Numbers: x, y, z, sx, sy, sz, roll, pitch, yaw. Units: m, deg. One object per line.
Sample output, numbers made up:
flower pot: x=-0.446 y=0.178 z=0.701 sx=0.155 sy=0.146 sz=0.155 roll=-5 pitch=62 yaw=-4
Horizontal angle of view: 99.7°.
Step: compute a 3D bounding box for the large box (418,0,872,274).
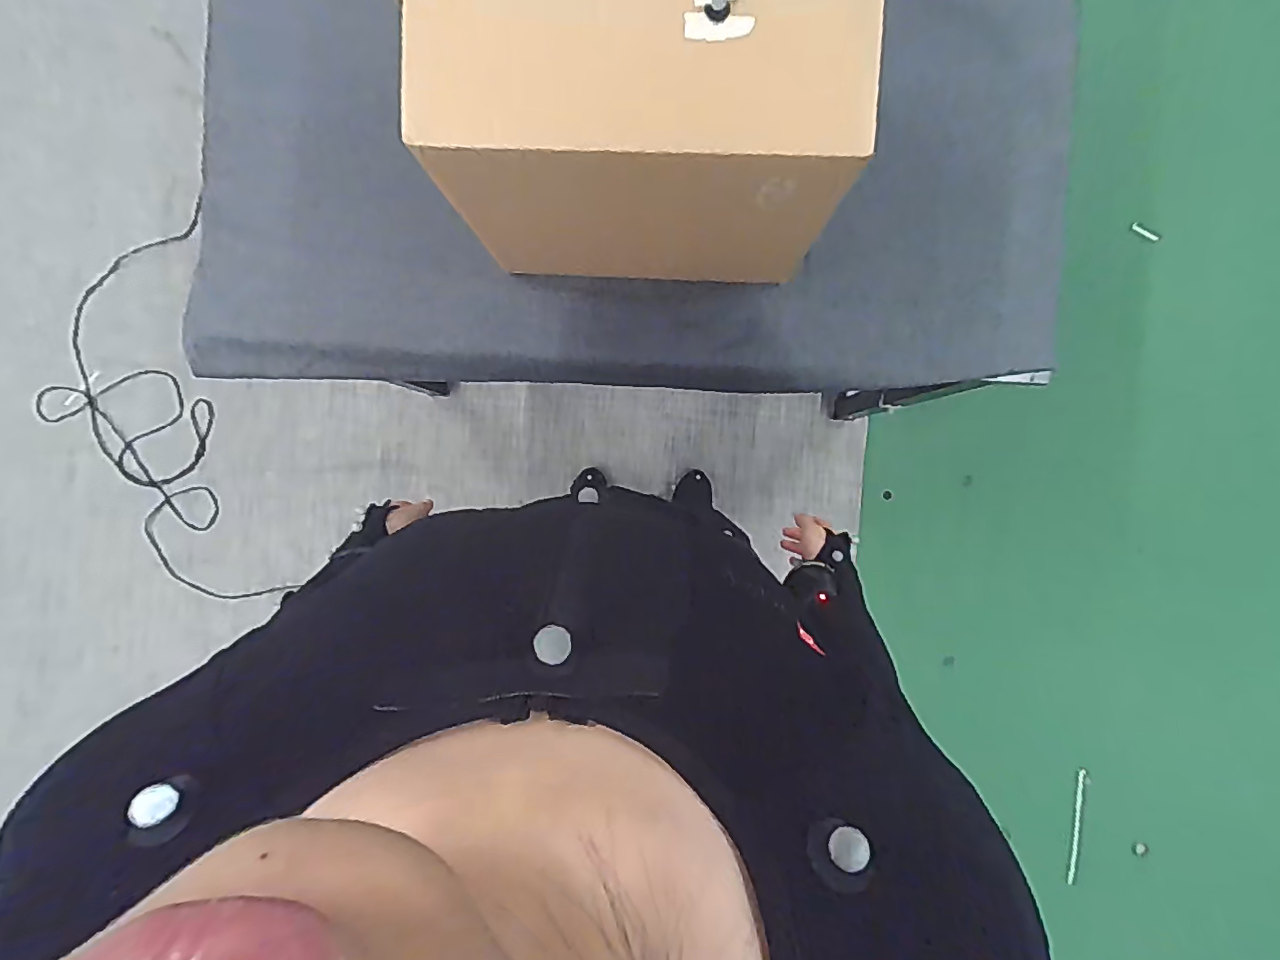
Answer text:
large box: x=0.006 y=-0.444 z=0.620 sx=0.408 sy=0.320 sz=0.320 roll=2 pitch=92 yaw=1
